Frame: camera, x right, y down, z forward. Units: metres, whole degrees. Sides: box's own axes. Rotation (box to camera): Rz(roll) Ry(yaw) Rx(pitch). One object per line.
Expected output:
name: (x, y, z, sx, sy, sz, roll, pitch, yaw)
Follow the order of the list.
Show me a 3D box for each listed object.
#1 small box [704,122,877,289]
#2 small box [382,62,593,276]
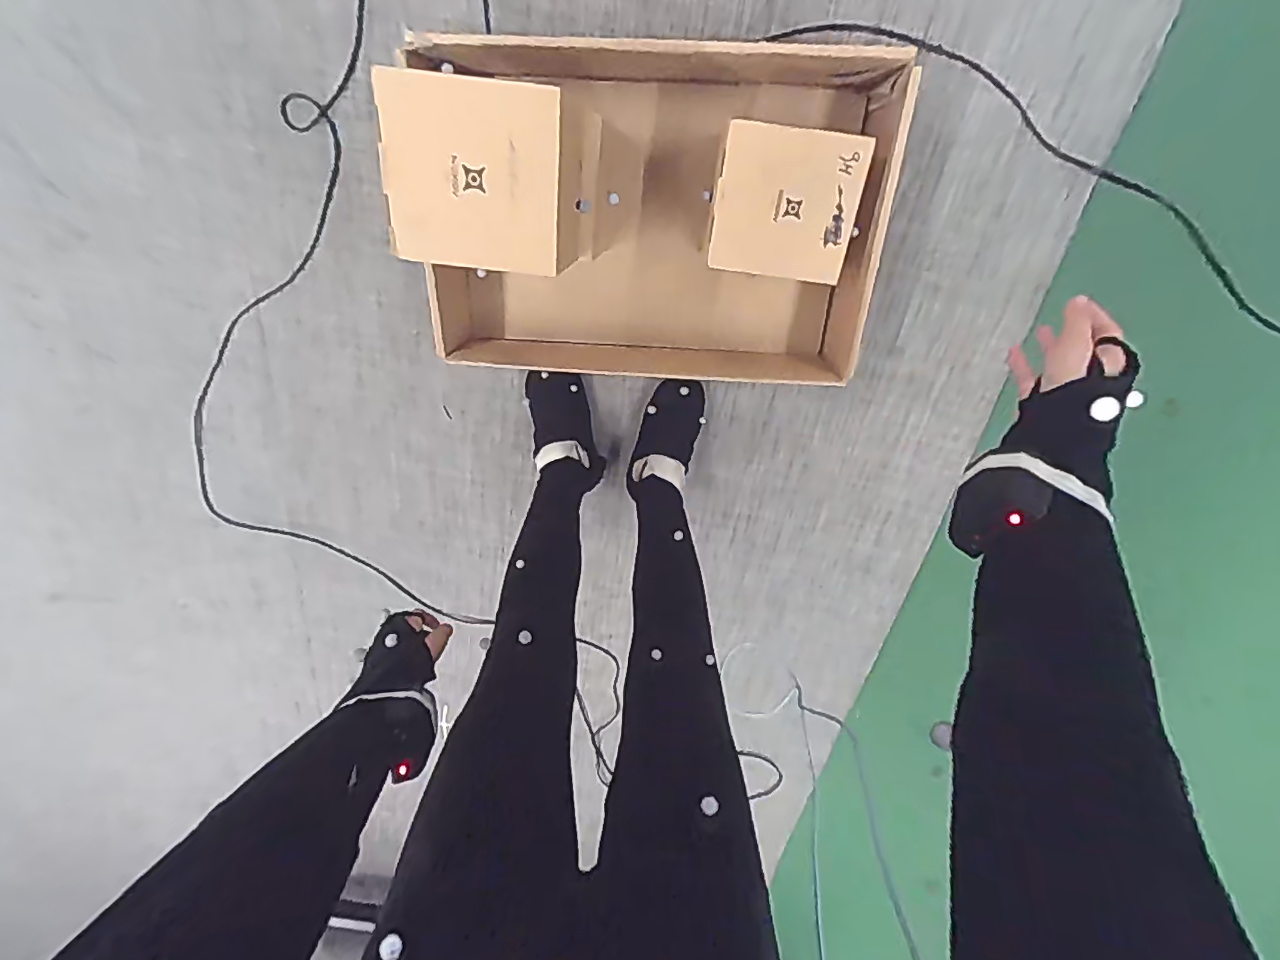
small box: (0.187, -0.368, 0.739, 0.179, 0.176, 0.168, 9, 117, 0)
small box: (-0.155, -0.332, 0.597, 0.179, 0.176, 0.168, 7, 118, -1)
